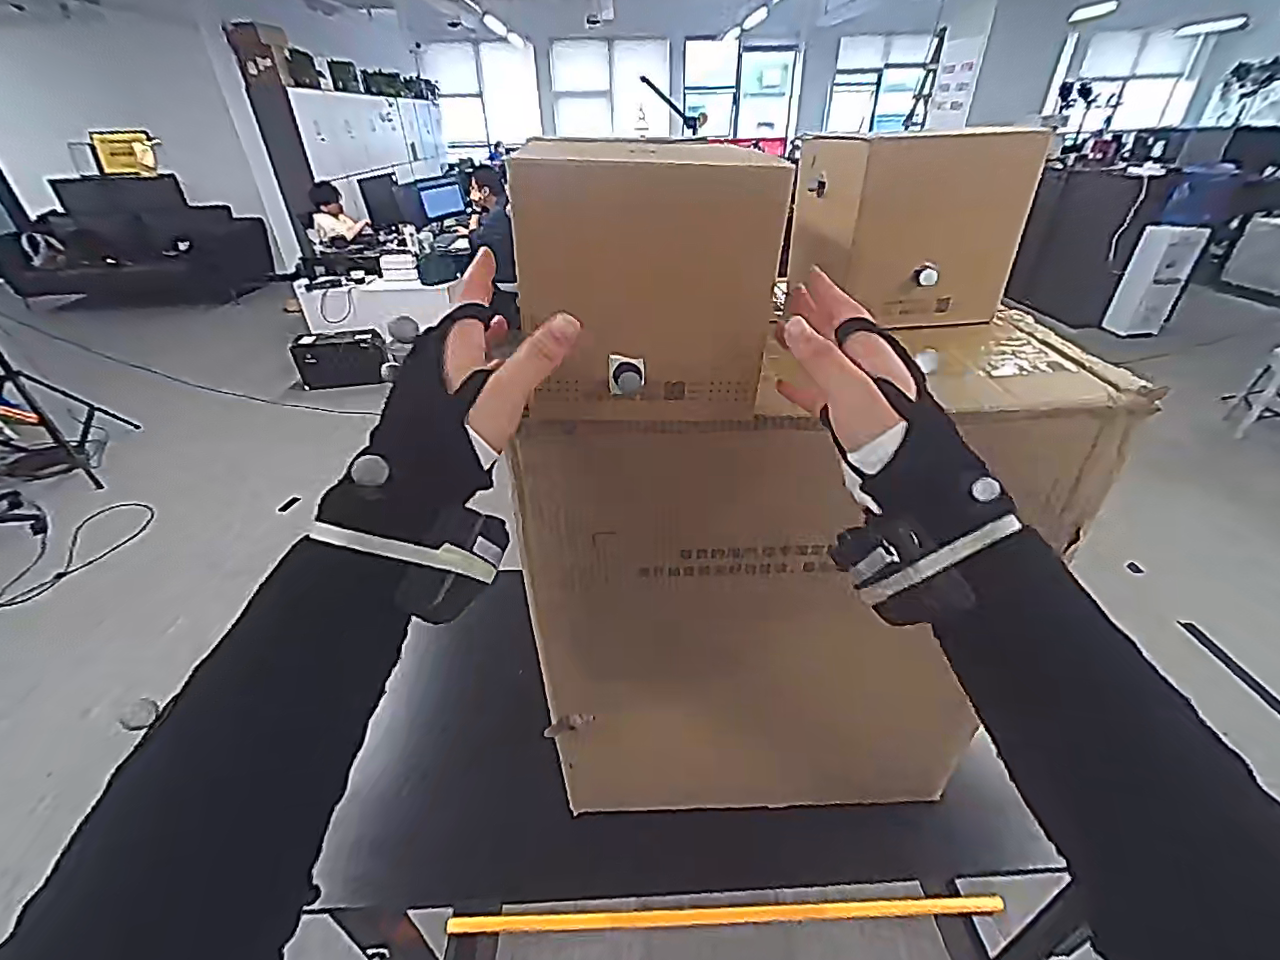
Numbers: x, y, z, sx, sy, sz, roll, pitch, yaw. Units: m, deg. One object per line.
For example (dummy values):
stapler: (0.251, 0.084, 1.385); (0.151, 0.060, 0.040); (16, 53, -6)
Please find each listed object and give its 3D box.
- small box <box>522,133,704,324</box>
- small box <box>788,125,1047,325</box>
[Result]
small box: (-0.028, -0.277, 0.593); (0.168, 0.176, 0.179); (-3, 32, -3)
small box: (0.266, -0.271, 0.573); (0.168, 0.176, 0.179); (-5, 33, -3)
